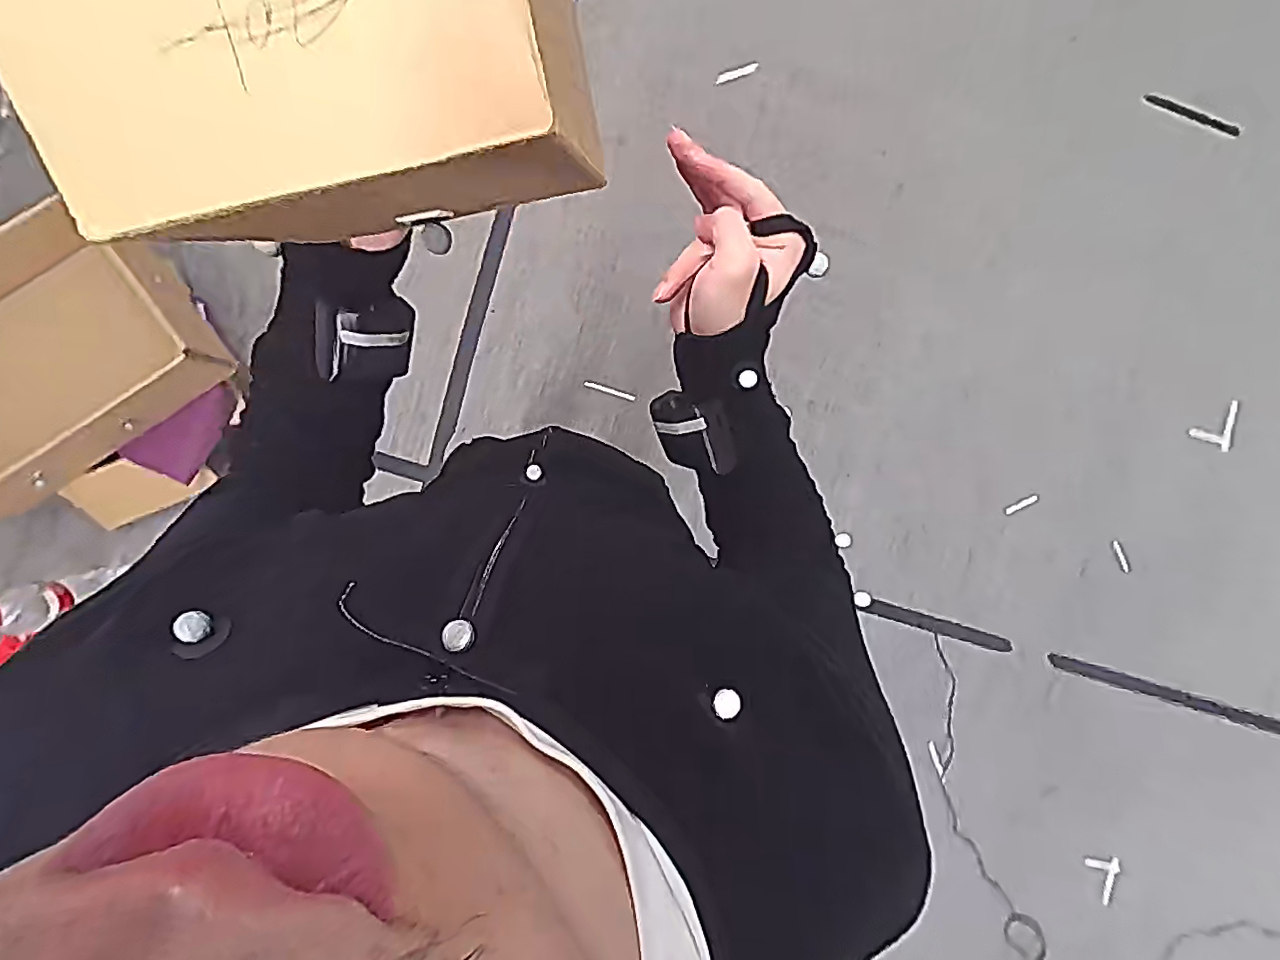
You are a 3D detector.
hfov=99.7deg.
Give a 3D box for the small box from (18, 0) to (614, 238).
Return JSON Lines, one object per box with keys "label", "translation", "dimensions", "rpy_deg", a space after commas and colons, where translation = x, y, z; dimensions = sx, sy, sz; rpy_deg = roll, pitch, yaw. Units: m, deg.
{"label": "small box", "translation": [-0.111, -0.209, 0.227], "dimensions": [0.168, 0.176, 0.179], "rpy_deg": [-8, 113, 7]}
